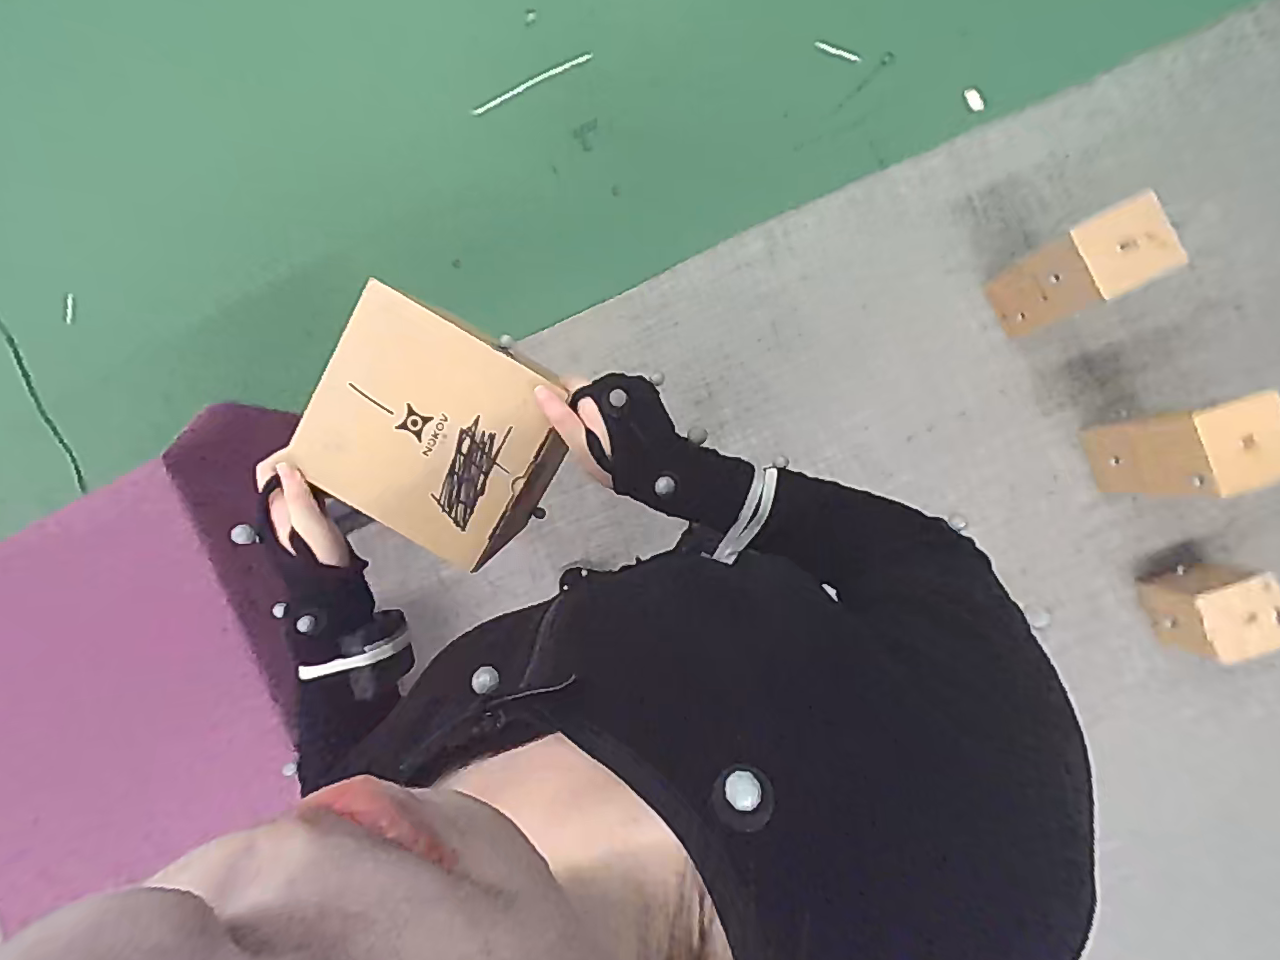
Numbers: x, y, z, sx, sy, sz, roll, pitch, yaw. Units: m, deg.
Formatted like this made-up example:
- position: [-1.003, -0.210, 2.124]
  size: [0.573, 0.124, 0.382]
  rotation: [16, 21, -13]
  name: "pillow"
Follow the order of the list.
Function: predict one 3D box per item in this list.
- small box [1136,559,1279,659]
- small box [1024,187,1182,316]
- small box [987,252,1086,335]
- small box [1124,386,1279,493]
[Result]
- position: [1.348, 0.300, 1.292]
  size: [0.179, 0.176, 0.168]
  rotation: [-21, 89, 6]
  name: "small box"
- position: [0.971, -0.476, 1.158]
  size: [0.179, 0.176, 0.168]
  rotation: [-26, 89, 6]
  name: "small box"
- position: [0.991, -0.478, 1.322]
  size: [0.179, 0.176, 0.168]
  rotation: [-24, 89, 5]
  name: "small box"
- position: [1.187, -0.078, 1.140]
  size: [0.168, 0.176, 0.179]
  rotation: [-19, 89, 5]
  name: "small box"
